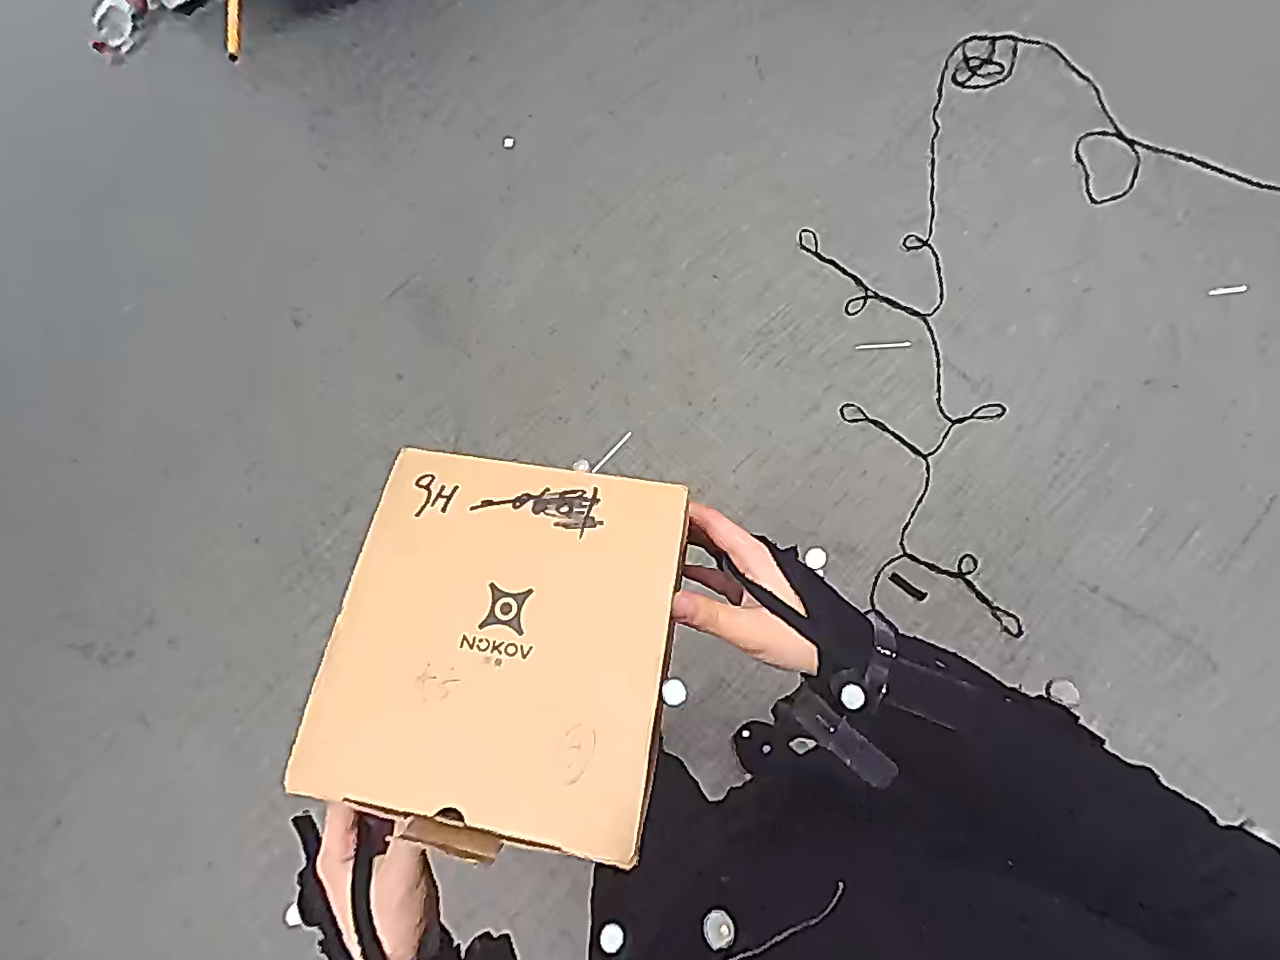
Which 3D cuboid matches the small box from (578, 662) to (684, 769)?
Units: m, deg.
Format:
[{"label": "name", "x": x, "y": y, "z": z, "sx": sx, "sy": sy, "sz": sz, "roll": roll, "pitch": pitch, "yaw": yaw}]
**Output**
[{"label": "small box", "x": -0.018, "y": 0.487, "z": 1.137, "sx": 0.179, "sy": 0.176, "sz": 0.168, "roll": 10, "pitch": 73, "yaw": 17}]
